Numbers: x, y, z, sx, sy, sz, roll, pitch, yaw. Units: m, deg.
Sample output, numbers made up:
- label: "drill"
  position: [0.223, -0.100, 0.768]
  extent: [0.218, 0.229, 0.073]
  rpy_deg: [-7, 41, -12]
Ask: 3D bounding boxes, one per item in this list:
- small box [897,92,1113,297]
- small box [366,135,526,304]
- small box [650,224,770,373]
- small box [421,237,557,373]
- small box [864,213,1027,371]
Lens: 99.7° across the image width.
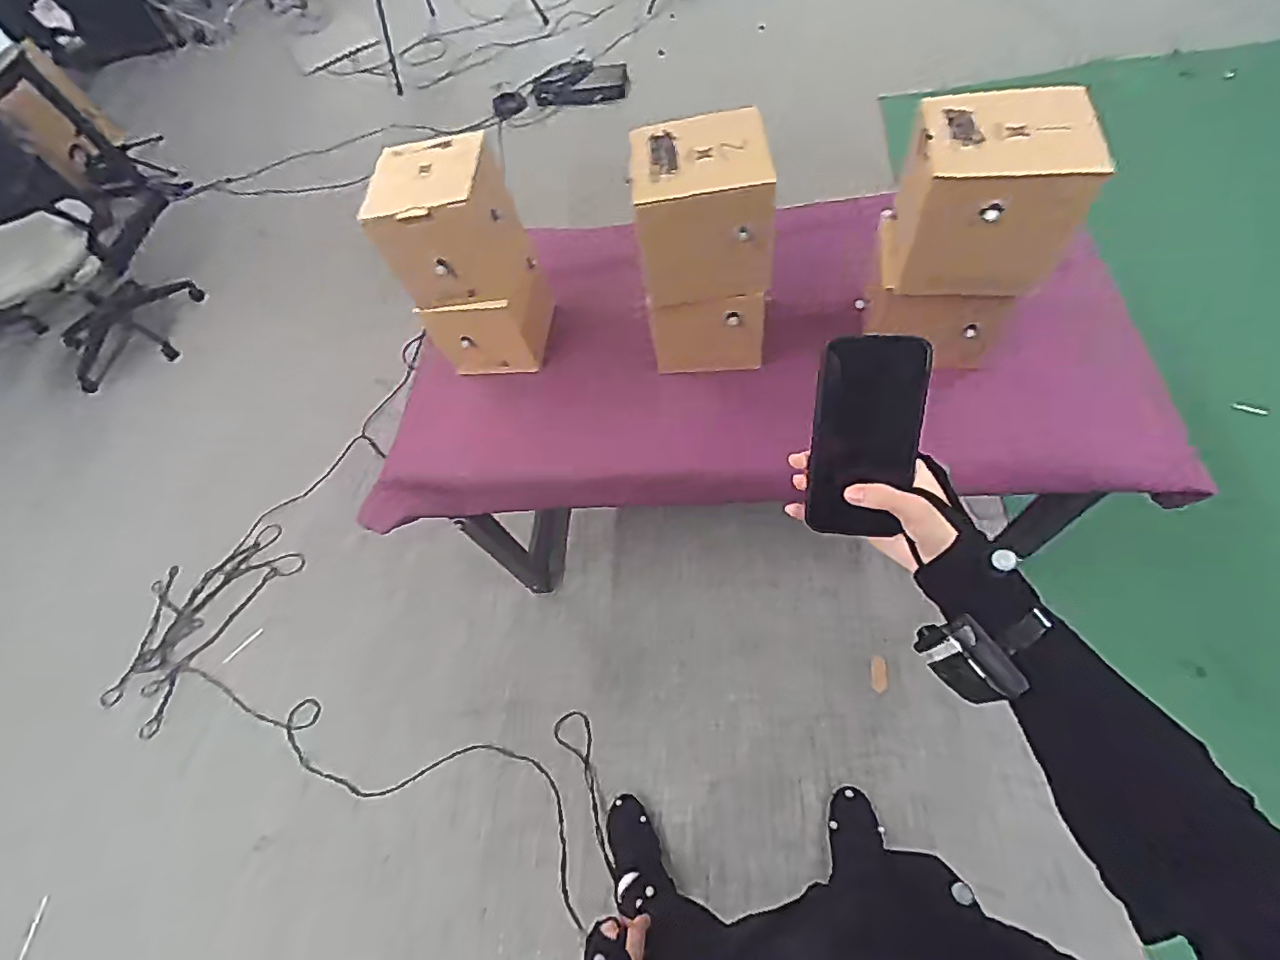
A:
- label: "small box"
  position: [0.433, -0.350, 0.682]
  extent: [0.179, 0.176, 0.168]
  rpy_deg: [5, 62, 13]
- label: "small box"
  position: [-0.289, -0.395, 0.847]
  extent: [0.168, 0.176, 0.179]
  rpy_deg: [-4, 61, 8]
- label: "small box"
  position: [0.120, -0.294, 0.900]
  extent: [0.179, 0.176, 0.168]
  rpy_deg: [-1, 61, 11]
- label: "small box"
  position: [-0.261, -0.308, 0.984]
  extent: [0.168, 0.176, 0.179]
  rpy_deg: [0, 61, 11]
- label: "small box"
  position: [0.454, -0.284, 0.832]
  extent: [0.179, 0.176, 0.168]
  rpy_deg: [5, 62, 14]
